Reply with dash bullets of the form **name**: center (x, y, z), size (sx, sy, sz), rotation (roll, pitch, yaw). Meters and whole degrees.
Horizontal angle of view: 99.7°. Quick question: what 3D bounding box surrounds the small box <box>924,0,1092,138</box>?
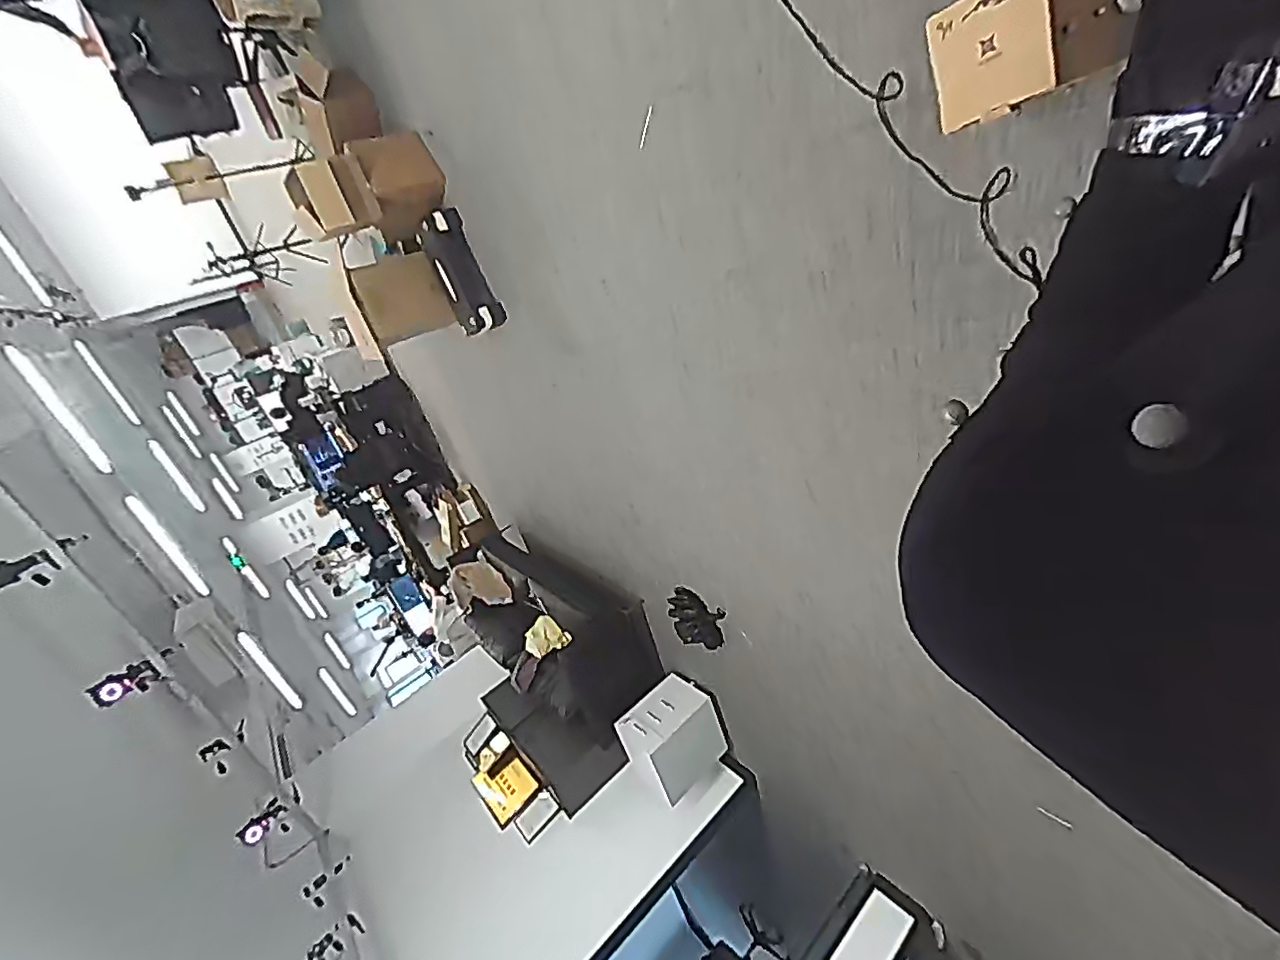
- **small box**: center (0.601, -0.700, 0.880), size (0.168, 0.176, 0.179), rotation (4, 121, 57)
